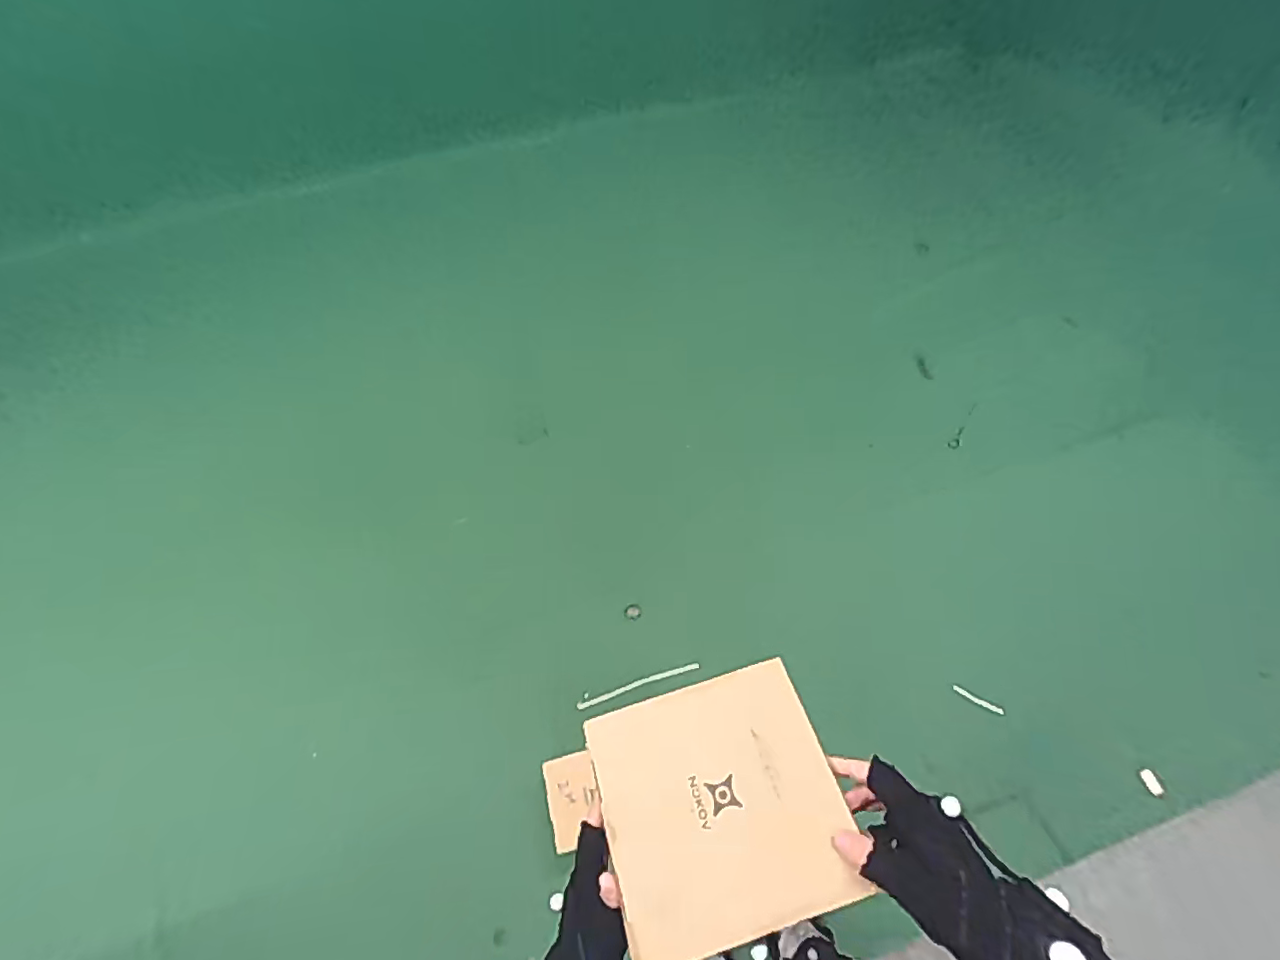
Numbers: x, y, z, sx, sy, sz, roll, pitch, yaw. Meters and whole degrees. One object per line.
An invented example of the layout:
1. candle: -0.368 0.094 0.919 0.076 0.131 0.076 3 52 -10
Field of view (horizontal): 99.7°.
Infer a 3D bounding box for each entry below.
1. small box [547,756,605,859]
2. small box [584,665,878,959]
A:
1. small box: -0.089 0.686 1.162 0.179 0.176 0.168 -15 60 -5
2. small box: 0.067 0.287 0.461 0.179 0.176 0.168 -16 53 -3
